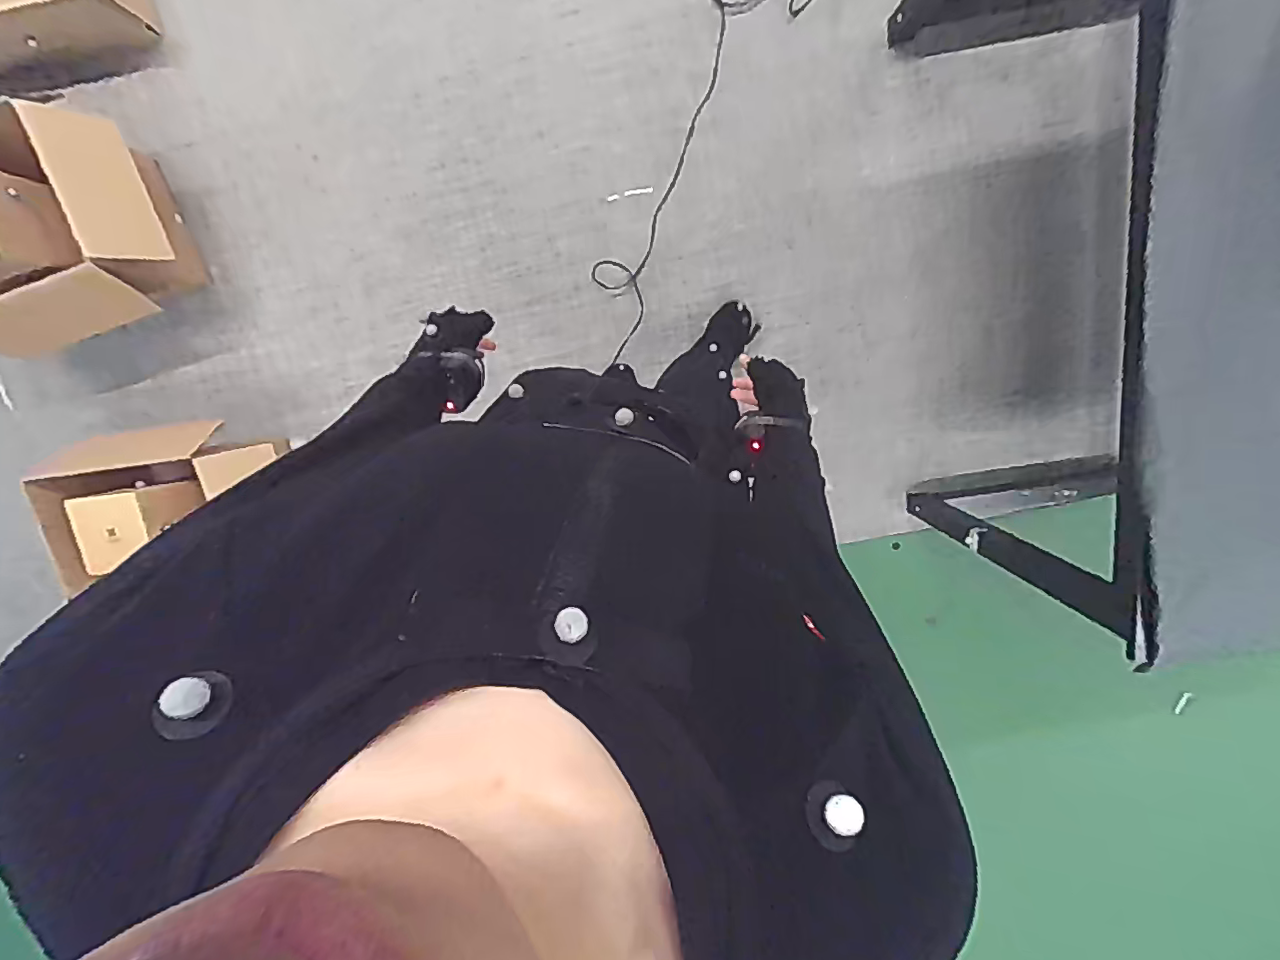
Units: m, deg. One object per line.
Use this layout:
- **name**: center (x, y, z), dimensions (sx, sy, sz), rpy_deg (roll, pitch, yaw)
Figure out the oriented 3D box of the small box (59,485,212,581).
- **small box**: center (-1.138, 0.112, 1.235), dimensions (0.168, 0.176, 0.179), rpy_deg (-7, 101, 2)
